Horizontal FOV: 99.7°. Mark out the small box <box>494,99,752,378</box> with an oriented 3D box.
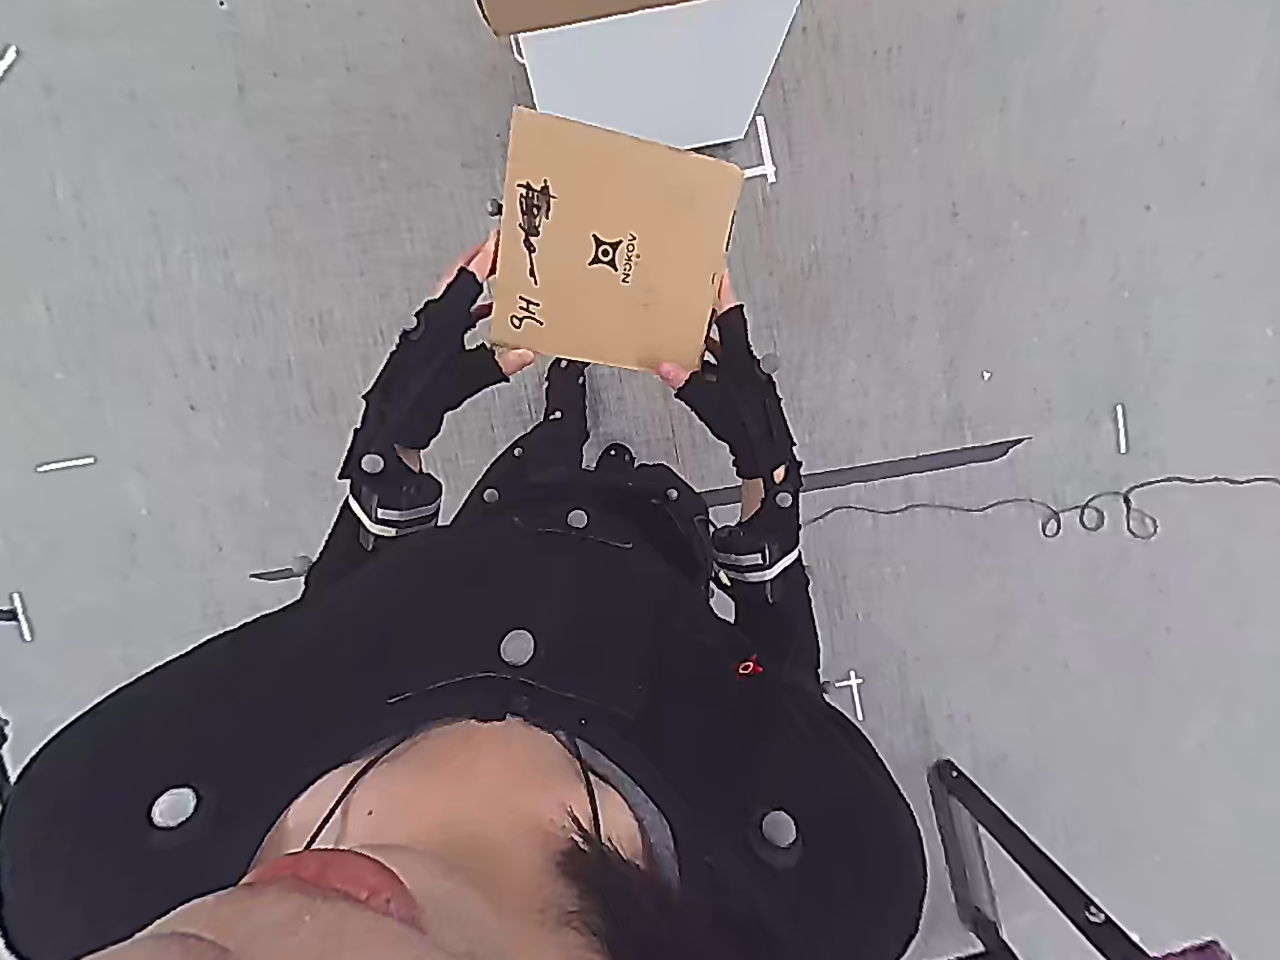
[{"bbox_3d":[-0.029,-0.198,0.486,0.179,0.176,0.168,8,105,-14],"label":"small box"}]
